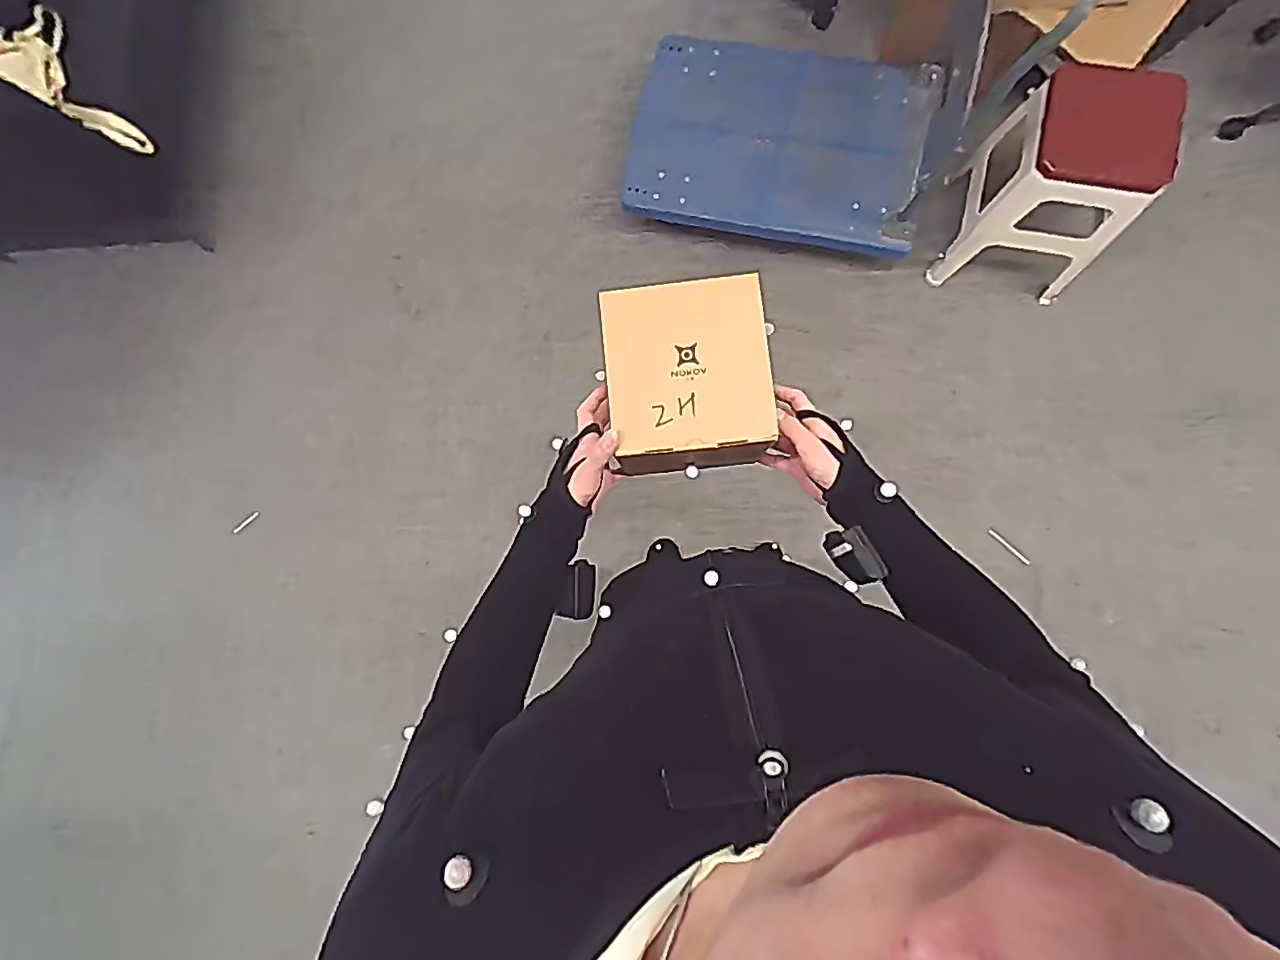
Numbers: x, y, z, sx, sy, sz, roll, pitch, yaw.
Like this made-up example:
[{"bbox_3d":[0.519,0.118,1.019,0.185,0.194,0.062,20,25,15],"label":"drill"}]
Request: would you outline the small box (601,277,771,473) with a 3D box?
[{"bbox_3d":[0.049,-0.110,0.632,0.168,0.176,0.179,-5,84,3],"label":"small box"}]
